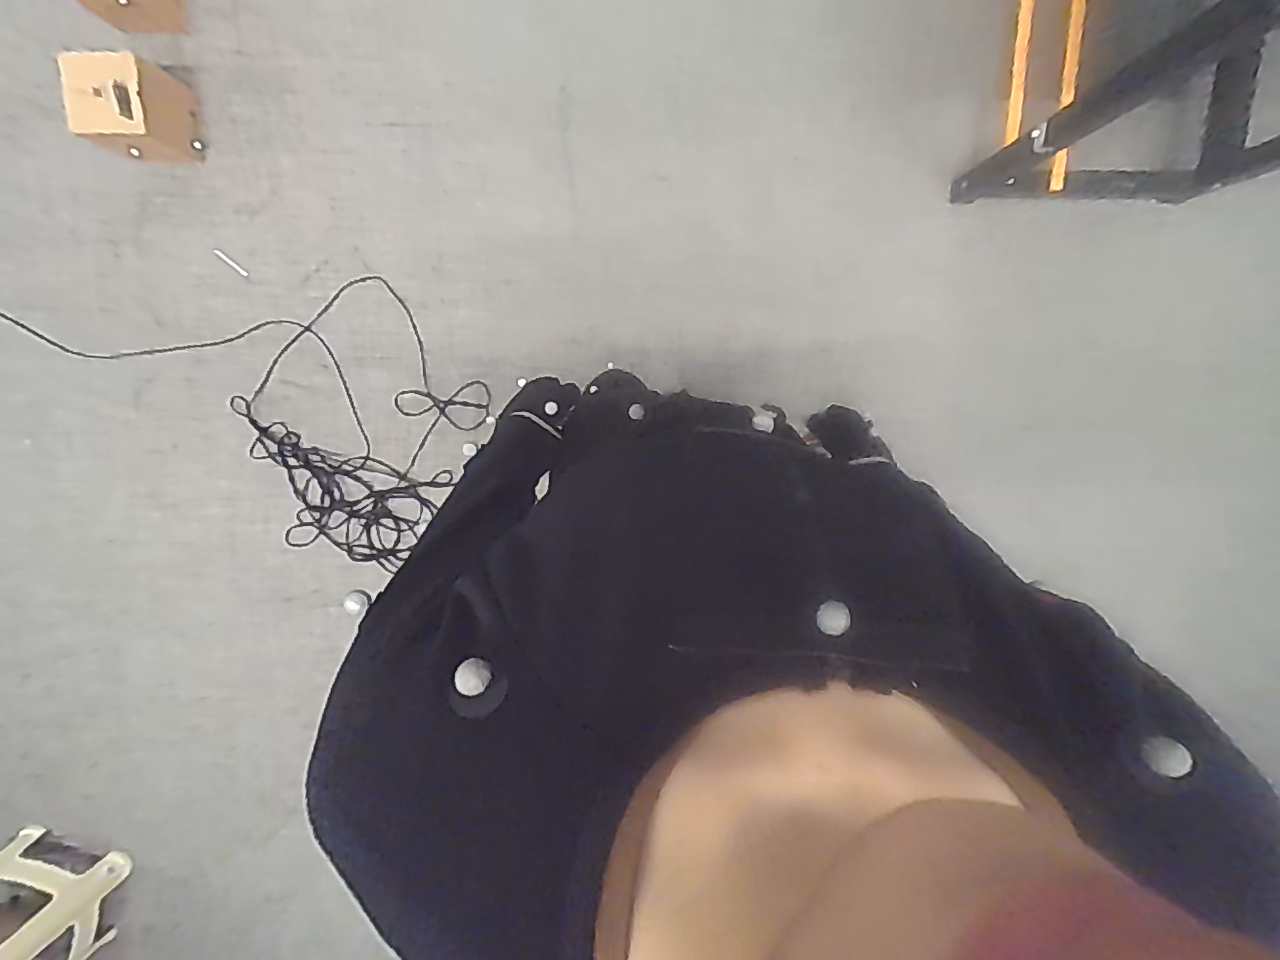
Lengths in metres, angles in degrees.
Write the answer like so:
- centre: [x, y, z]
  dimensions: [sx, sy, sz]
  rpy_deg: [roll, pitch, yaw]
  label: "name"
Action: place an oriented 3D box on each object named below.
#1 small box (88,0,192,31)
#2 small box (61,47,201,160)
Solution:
- centre: [-1.170, -1.160, 1.221]
  dimensions: [0.179, 0.176, 0.168]
  rpy_deg: [2, 100, 0]
  label: "small box"
- centre: [-1.176, -0.873, 1.268]
  dimensions: [0.179, 0.176, 0.168]
  rpy_deg: [1, 100, 1]
  label: "small box"
